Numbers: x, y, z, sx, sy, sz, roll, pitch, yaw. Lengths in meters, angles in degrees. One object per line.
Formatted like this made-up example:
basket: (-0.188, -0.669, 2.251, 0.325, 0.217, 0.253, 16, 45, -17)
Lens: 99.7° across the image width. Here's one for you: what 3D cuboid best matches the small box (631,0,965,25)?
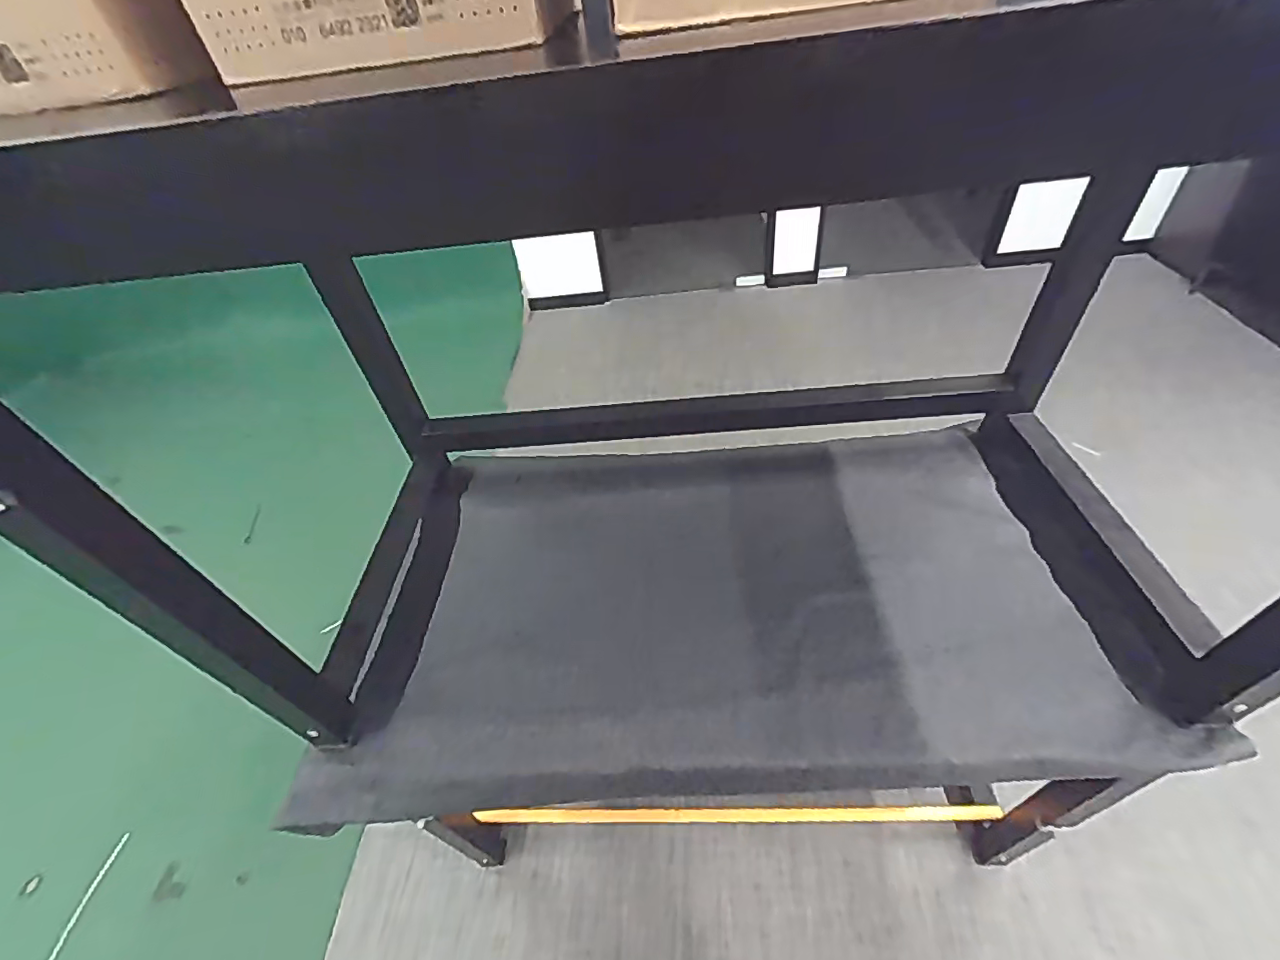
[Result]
small box: (0.072, -0.320, 0.236, 0.168, 0.176, 0.179, -2, 46, 6)
